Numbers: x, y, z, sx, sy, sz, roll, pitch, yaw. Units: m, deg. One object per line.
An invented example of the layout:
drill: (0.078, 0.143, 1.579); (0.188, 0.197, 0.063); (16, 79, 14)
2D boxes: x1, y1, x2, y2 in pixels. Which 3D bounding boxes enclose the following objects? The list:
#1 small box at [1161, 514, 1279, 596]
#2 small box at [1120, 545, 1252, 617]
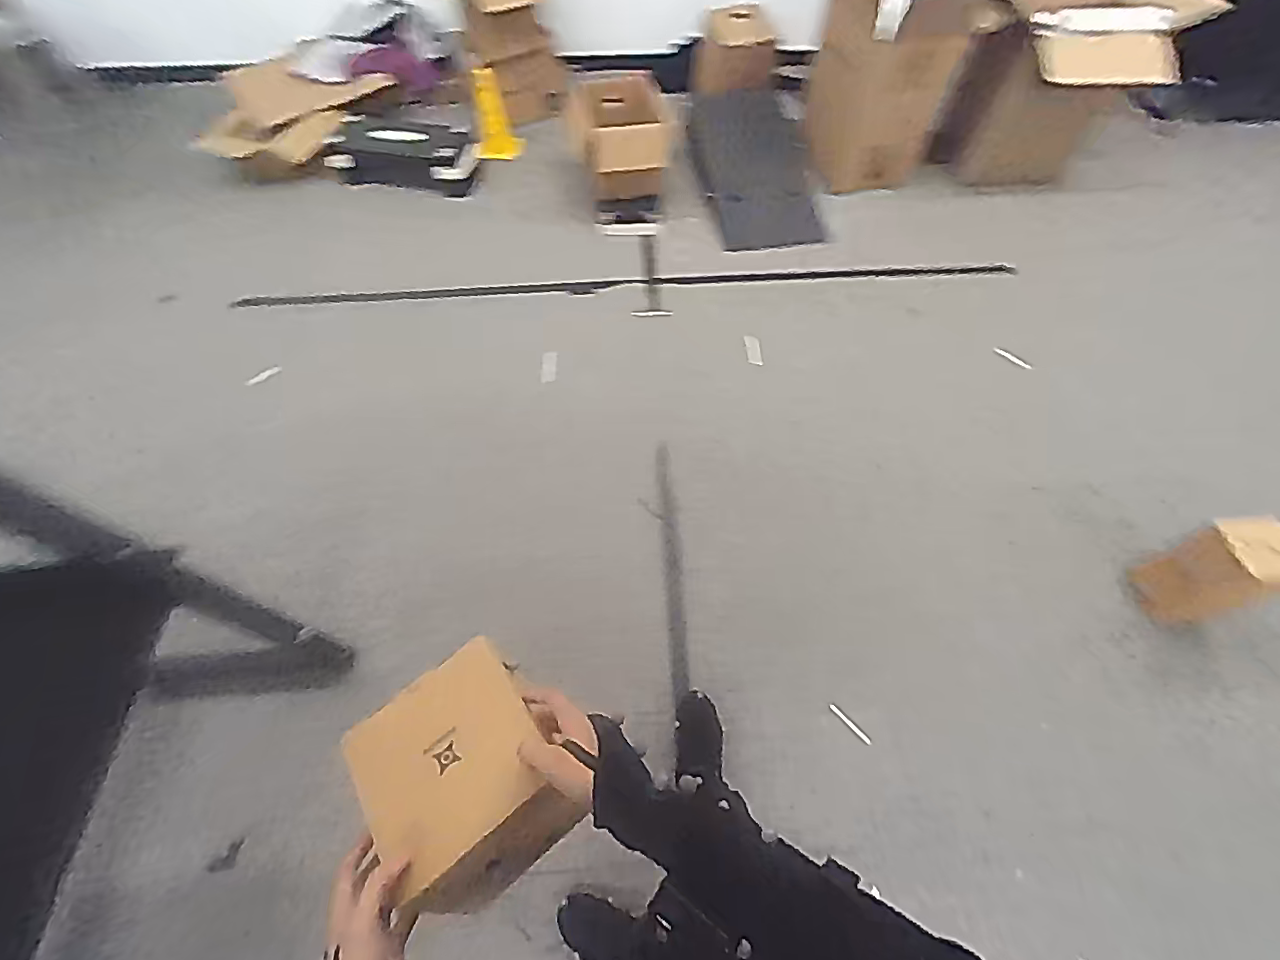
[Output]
small box: (1.568, 0.202, 1.436); (0.179, 0.176, 0.168); (-2, 58, 0)
small box: (1.572, 0.294, 1.572); (0.179, 0.176, 0.168); (-1, 58, -1)
